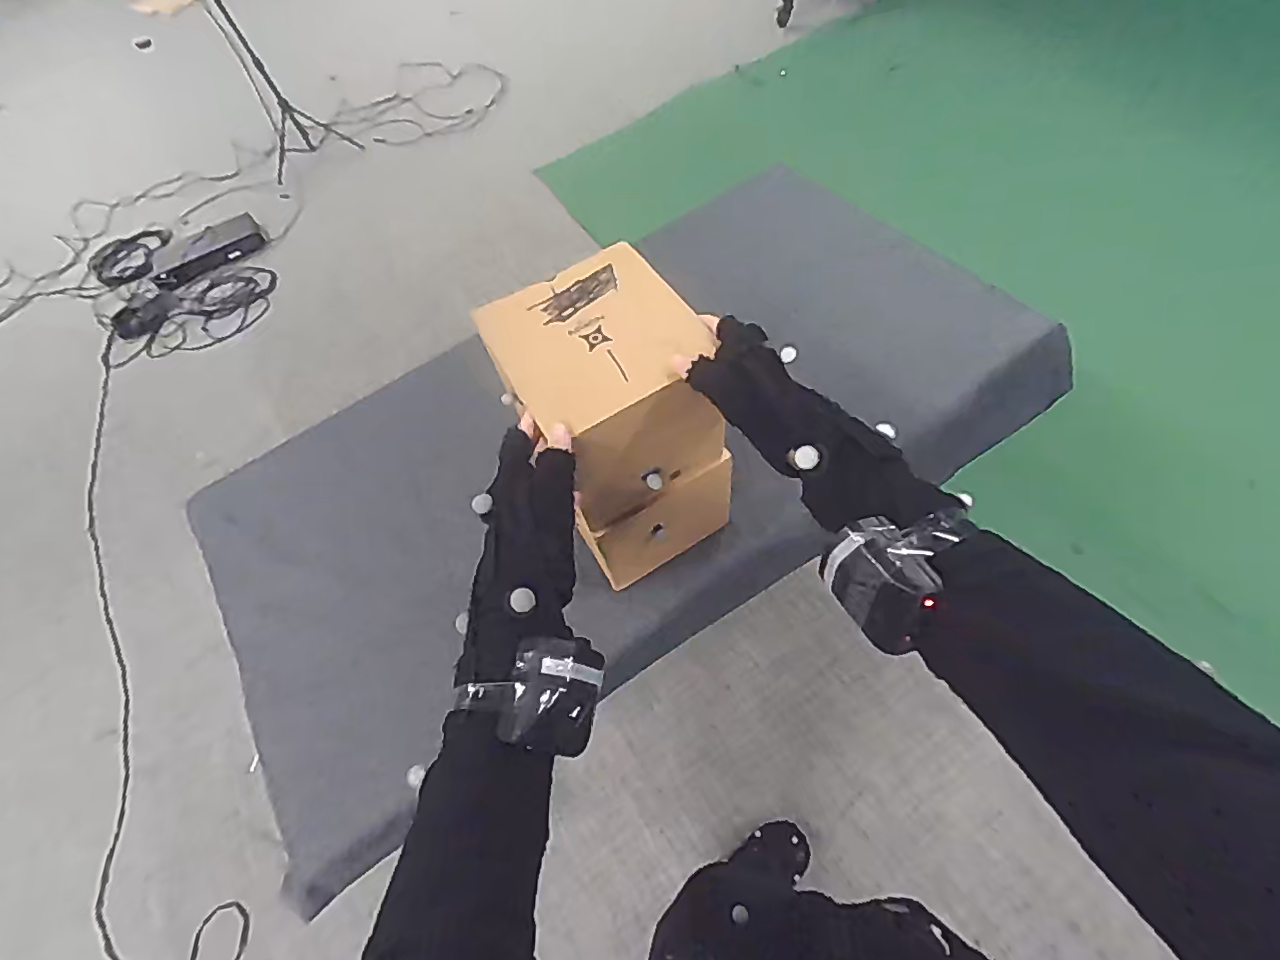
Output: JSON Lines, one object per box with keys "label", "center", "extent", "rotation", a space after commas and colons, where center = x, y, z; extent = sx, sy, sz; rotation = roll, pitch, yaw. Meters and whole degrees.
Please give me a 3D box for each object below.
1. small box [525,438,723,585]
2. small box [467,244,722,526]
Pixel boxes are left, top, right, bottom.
{"label": "small box", "center": [-0.009, 0.003, 0.670], "extent": [0.179, 0.176, 0.168], "rotation": [-31, 61, -9]}
{"label": "small box", "center": [-0.037, -0.087, 0.532], "extent": [0.168, 0.176, 0.179], "rotation": [-33, 60, -11]}
